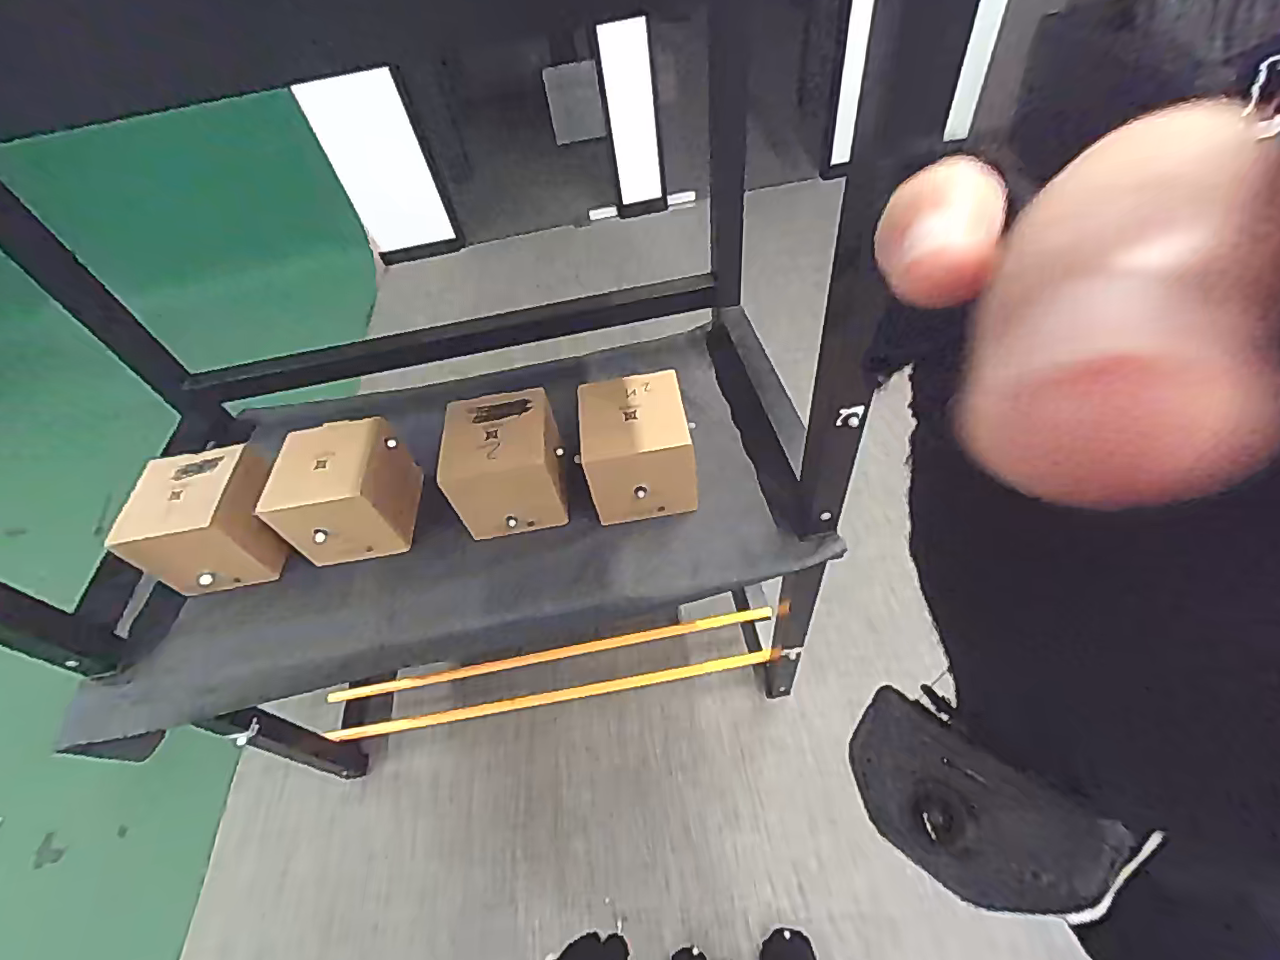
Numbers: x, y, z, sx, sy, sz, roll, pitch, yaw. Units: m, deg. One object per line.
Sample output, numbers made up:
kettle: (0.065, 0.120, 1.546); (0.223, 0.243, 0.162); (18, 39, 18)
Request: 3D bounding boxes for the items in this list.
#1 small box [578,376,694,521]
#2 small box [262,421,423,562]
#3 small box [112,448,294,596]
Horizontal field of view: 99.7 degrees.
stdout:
small box: (-0.005, -0.046, 0.912); (0.168, 0.176, 0.179); (-9, 49, 1)
small box: (-0.496, 0.028, 0.934); (0.168, 0.176, 0.179); (-10, 50, 1)
small box: (-0.718, 0.074, 0.928); (0.168, 0.176, 0.179); (-11, 50, 0)
